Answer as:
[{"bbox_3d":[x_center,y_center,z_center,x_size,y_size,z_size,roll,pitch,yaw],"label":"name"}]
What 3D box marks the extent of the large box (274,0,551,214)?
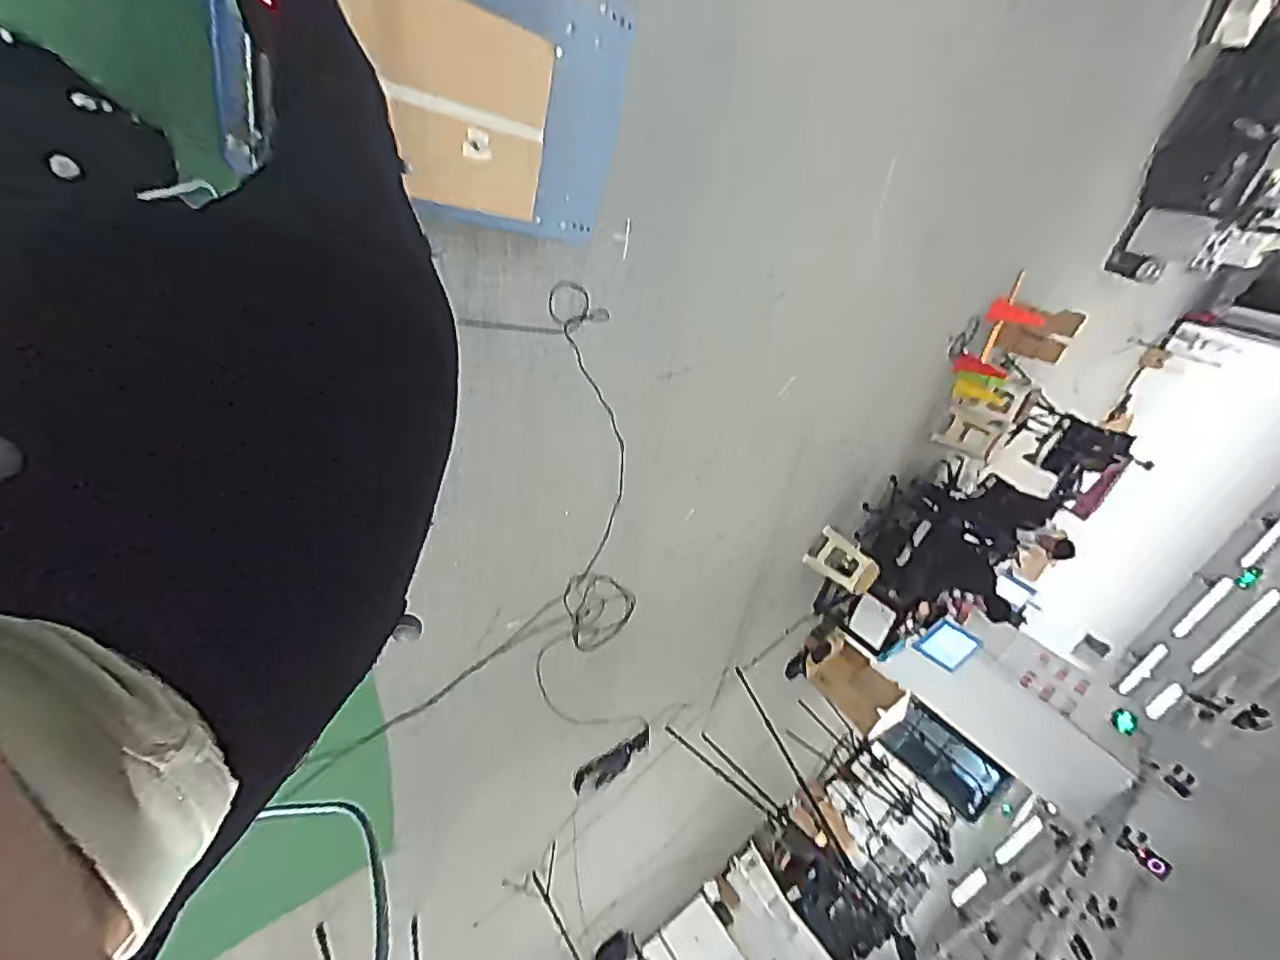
[{"bbox_3d":[-0.443,-0.743,1.052,0.408,0.320,0.320,-10,127,-41],"label":"large box"}]
